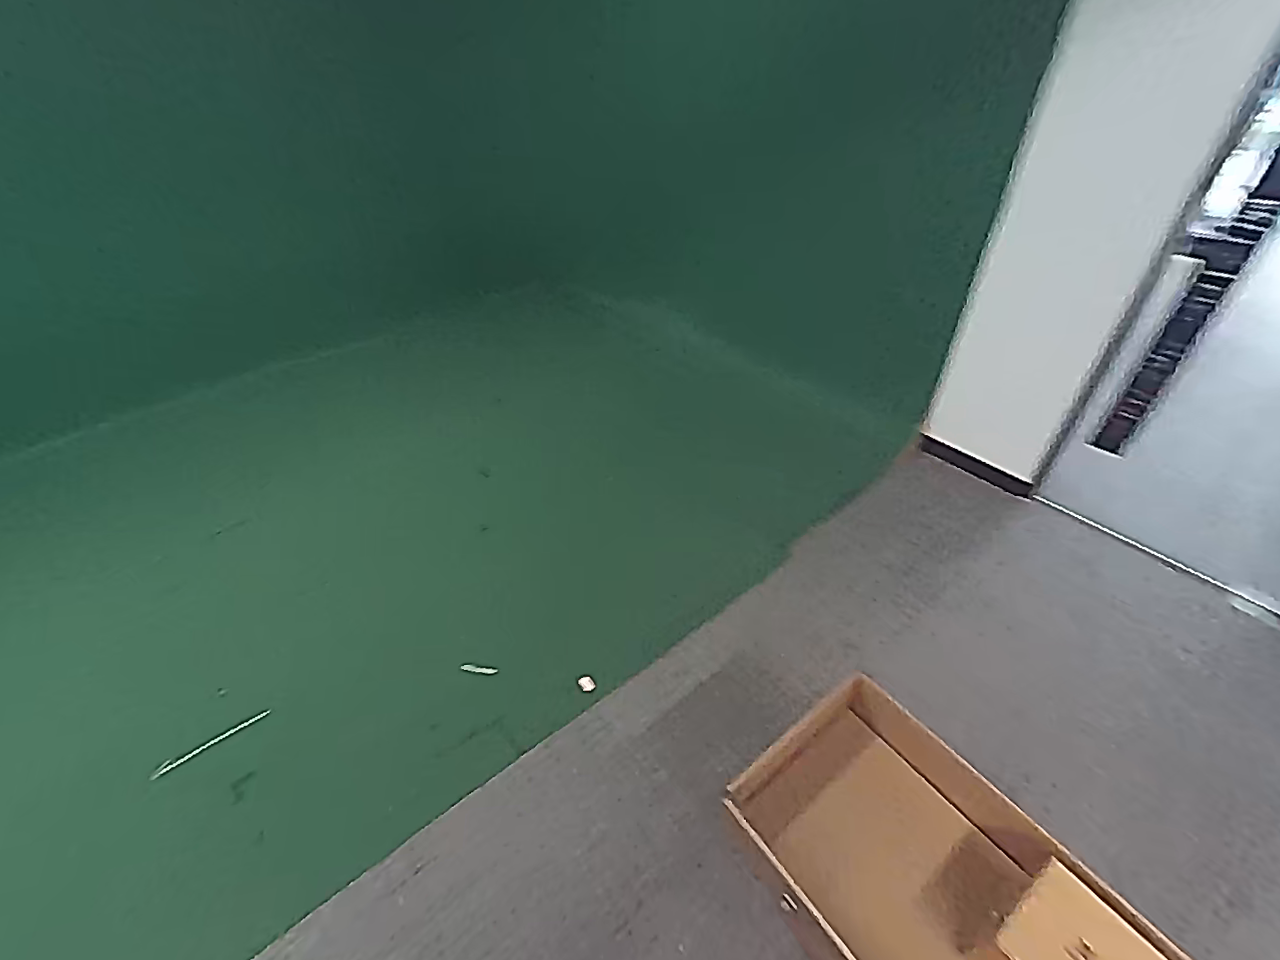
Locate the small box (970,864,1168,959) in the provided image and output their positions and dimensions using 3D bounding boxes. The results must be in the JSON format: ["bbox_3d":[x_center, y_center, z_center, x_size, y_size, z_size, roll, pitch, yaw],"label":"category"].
[{"bbox_3d":[0.649,0.743,0.829,0.179,0.176,0.168,-29,48,-22],"label":"small box"}]
